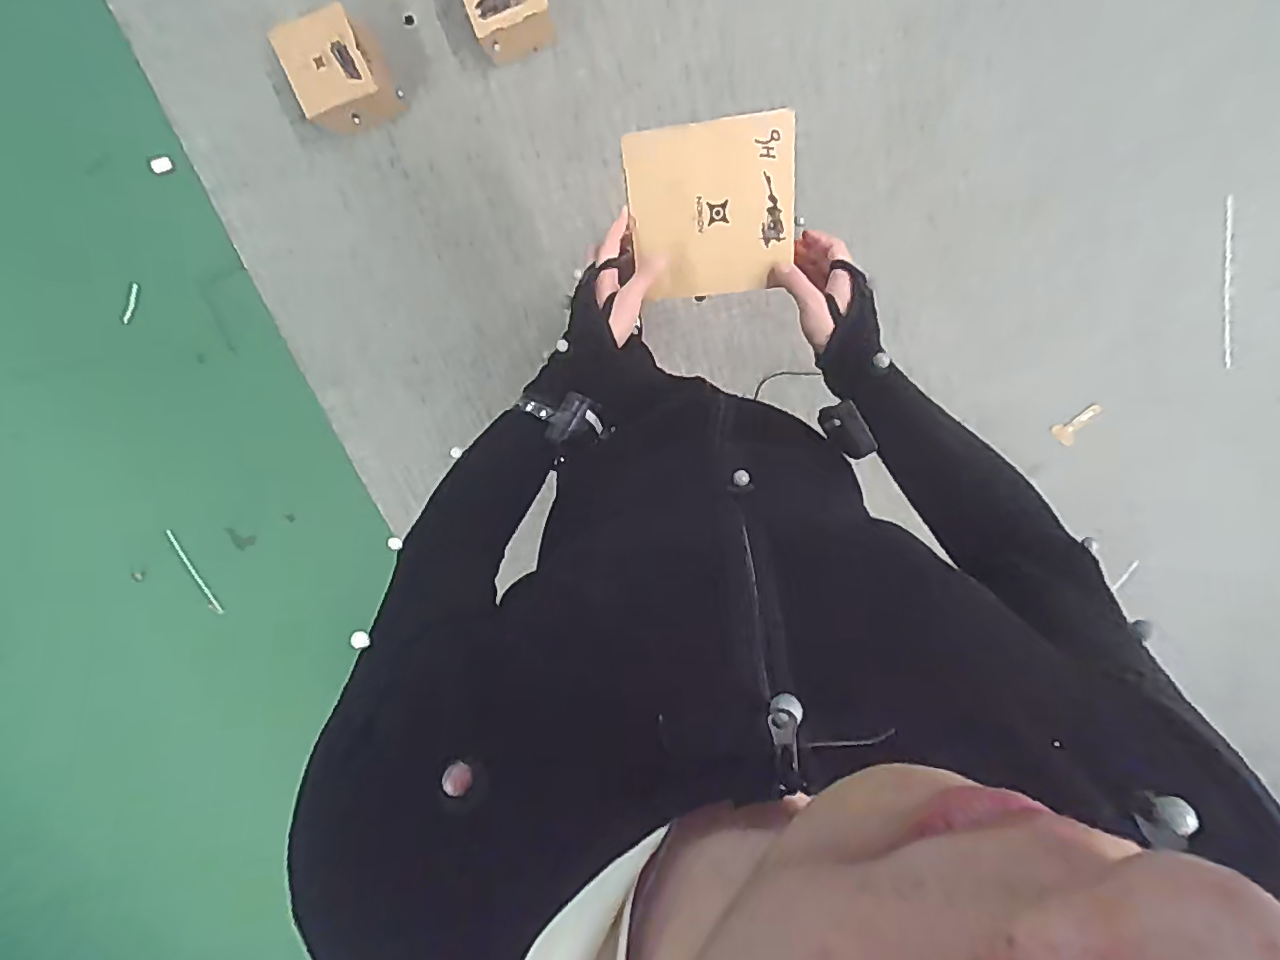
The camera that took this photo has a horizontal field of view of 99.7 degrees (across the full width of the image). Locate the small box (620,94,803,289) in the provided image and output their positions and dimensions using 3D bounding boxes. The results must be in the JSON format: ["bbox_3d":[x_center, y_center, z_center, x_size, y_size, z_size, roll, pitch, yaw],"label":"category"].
[{"bbox_3d":[0.083,-0.317,0.619,0.179,0.176,0.168,-2,115,8],"label":"small box"}]

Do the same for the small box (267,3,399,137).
[{"bbox_3d":[-0.672,-0.907,1.214,0.179,0.176,0.168,-18,108,6],"label":"small box"}]
